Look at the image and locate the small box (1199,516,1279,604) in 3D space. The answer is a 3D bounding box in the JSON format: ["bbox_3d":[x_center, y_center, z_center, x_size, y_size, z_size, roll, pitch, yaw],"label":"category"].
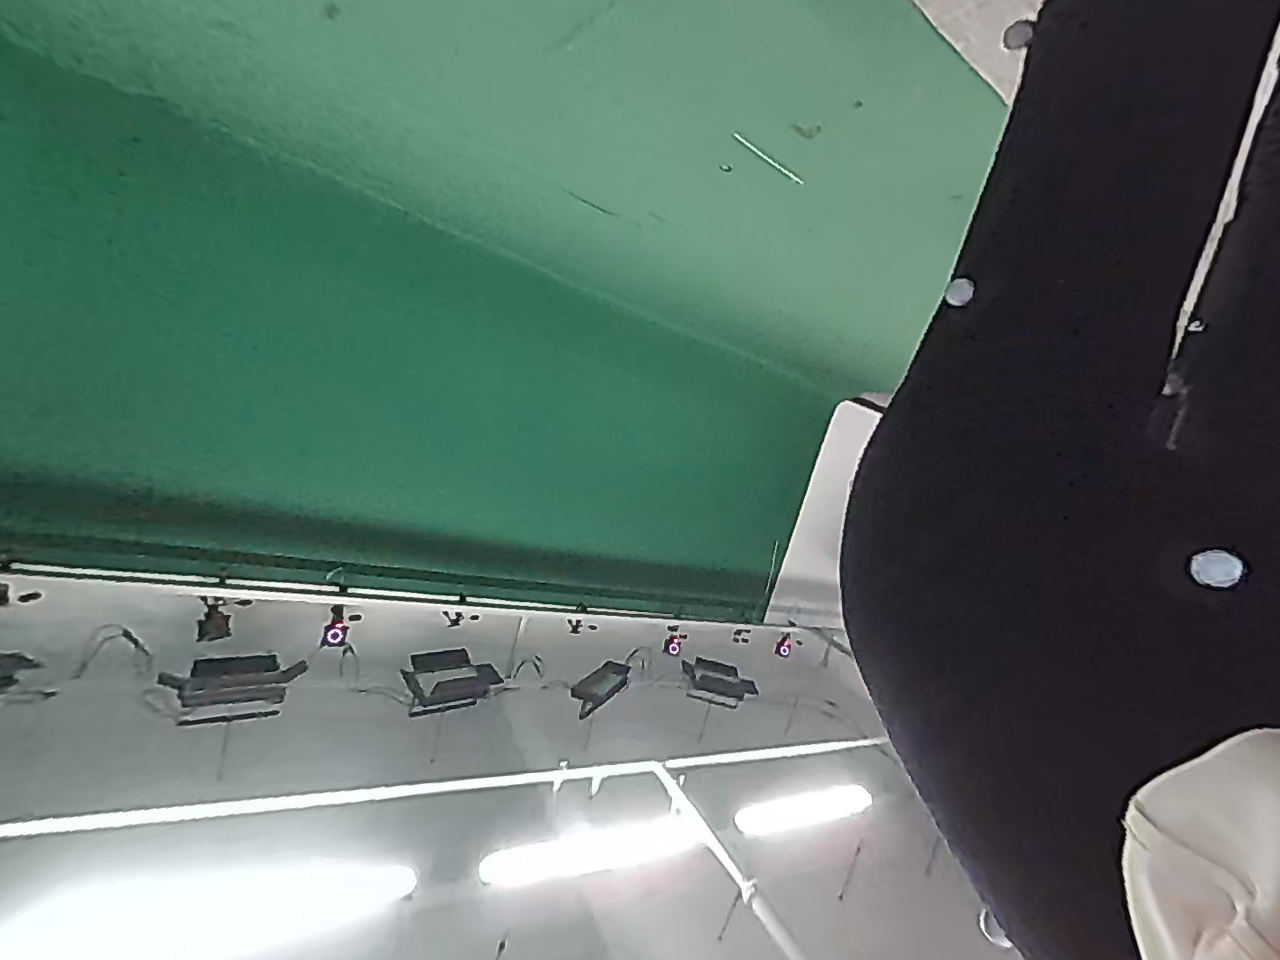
[{"bbox_3d":[1.463,0.190,1.259,0.168,0.176,0.179,11,-172,-36],"label":"small box"}]
